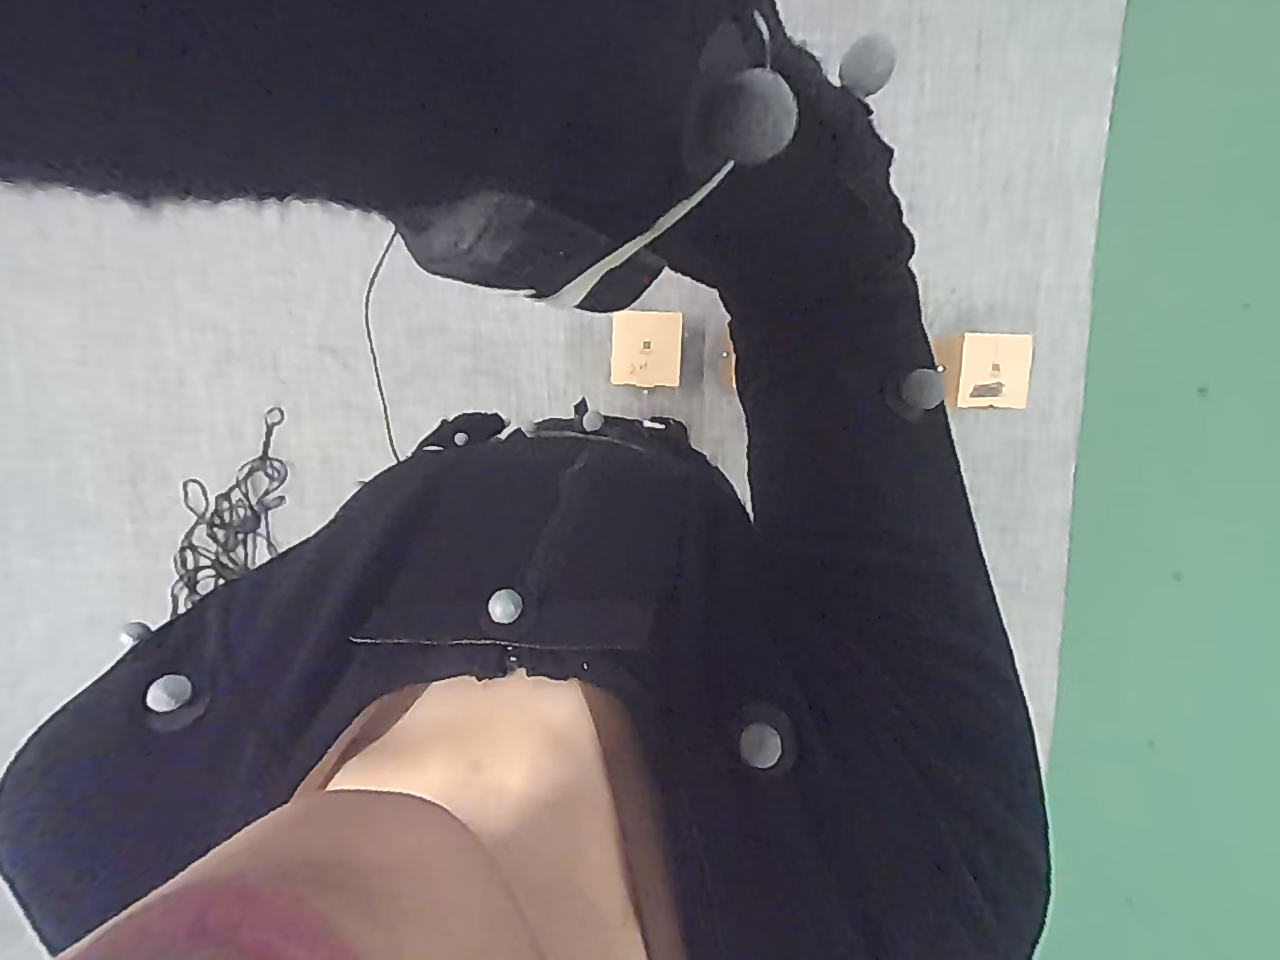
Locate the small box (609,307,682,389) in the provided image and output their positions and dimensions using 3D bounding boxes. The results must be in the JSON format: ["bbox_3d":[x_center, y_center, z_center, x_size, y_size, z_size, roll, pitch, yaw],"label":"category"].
[{"bbox_3d":[0.013,-0.325,1.354,0.168,0.176,0.179,3,97,1],"label":"small box"}]

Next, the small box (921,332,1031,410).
[{"bbox_3d":[0.829,-0.267,1.353,0.168,0.176,0.179,3,96,0],"label":"small box"}]
